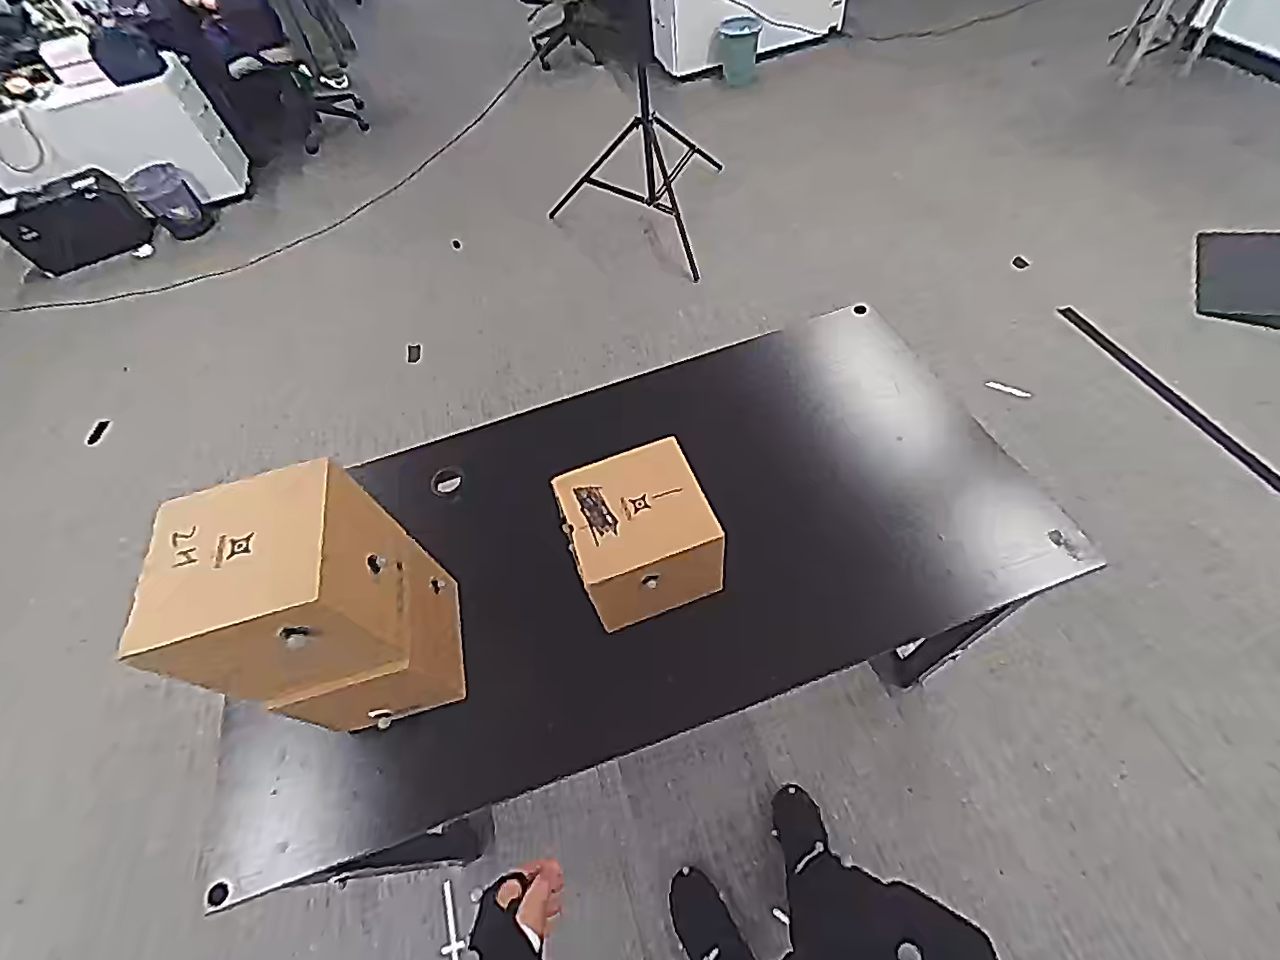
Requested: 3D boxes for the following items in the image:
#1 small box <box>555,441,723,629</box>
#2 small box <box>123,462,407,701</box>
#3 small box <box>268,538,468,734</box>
[{"bbox_3d":[0.003,0.081,0.737,0.179,0.176,0.168,-19,56,-6],"label":"small box"},{"bbox_3d":[-0.363,0.112,0.568,0.179,0.176,0.168,-17,55,-2],"label":"small box"},{"bbox_3d":[-0.337,0.206,0.702,0.168,0.176,0.179,-17,57,-2],"label":"small box"}]
